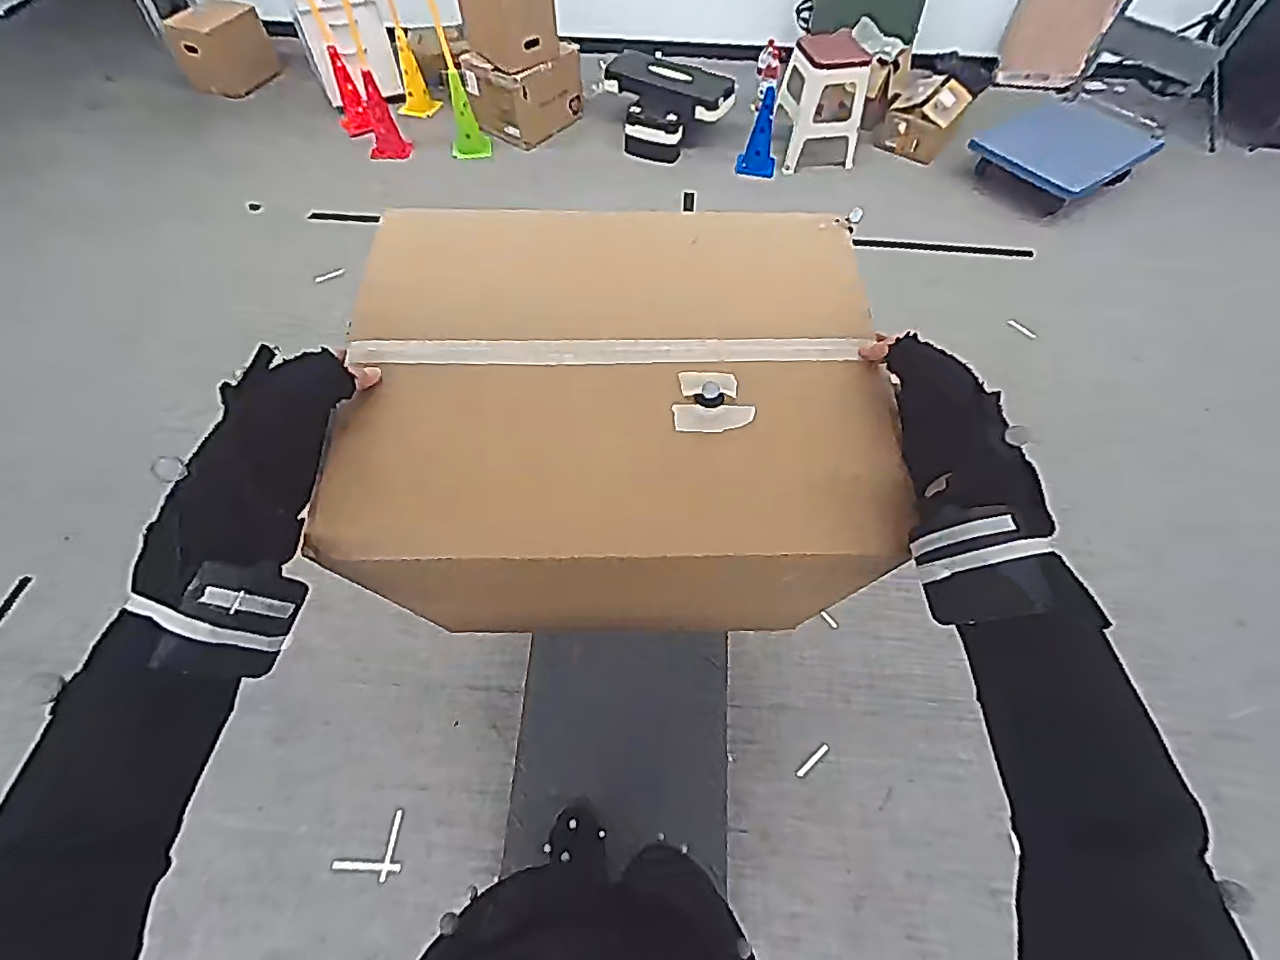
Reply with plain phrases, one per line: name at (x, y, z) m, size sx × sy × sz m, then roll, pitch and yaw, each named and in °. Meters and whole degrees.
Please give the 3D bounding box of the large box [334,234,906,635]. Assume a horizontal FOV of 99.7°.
large box at (-0.019, -0.024, 0.567) m, size 0.408 × 0.320 × 0.320 m, roll 0°, pitch 66°, yaw -2°
